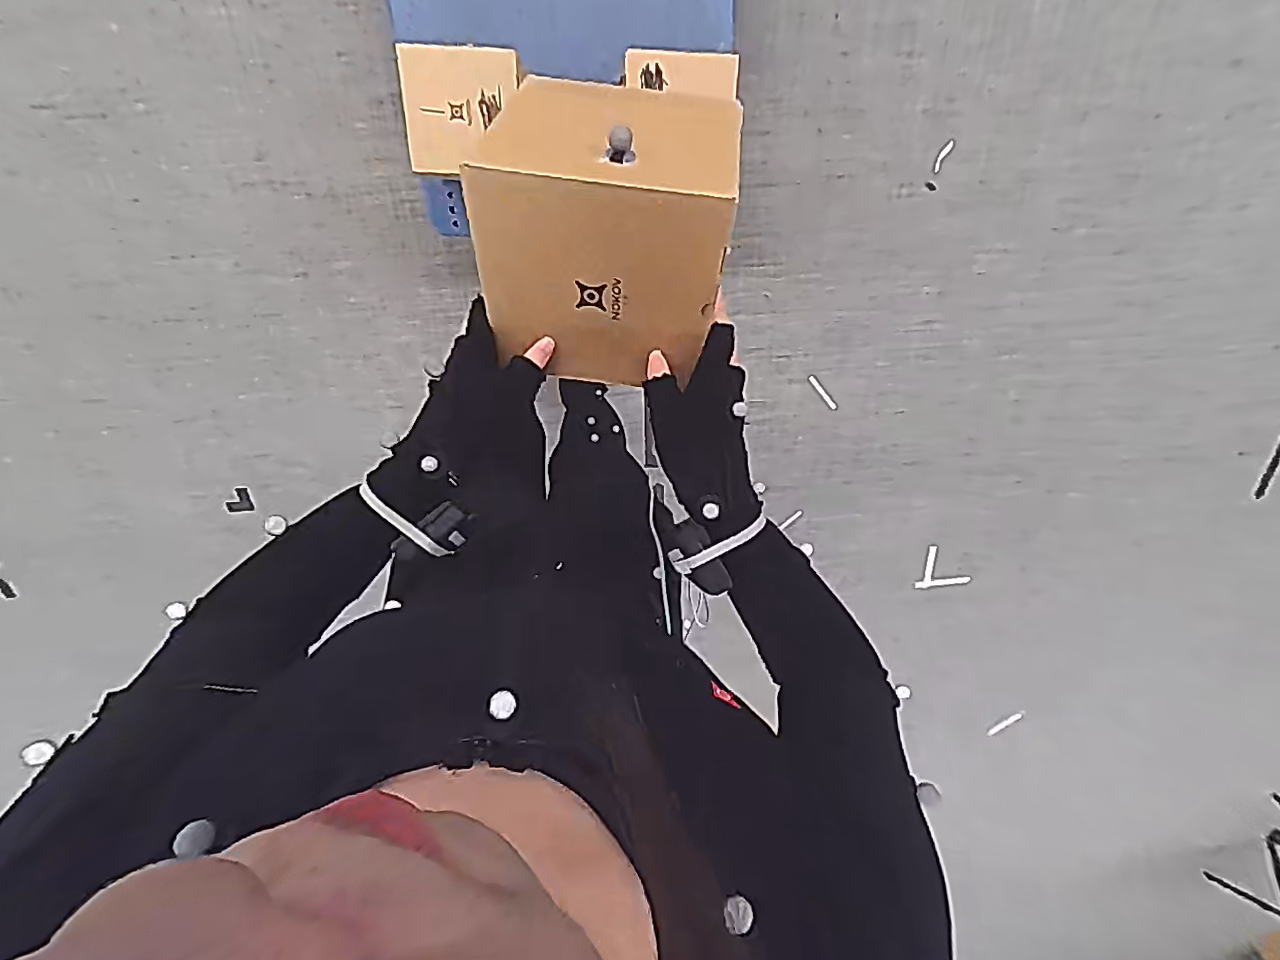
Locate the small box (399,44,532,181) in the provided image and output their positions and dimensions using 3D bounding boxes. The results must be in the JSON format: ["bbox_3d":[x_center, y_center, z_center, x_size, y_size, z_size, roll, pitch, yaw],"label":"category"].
[{"bbox_3d":[-0.272,-0.590,0.892,0.179,0.176,0.168,1,116,-3],"label":"small box"}]

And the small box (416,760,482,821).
[{"bbox_3d":[-0.678,1.139,1.942,0.168,0.176,0.179,-5,117,-1],"label":"small box"}]

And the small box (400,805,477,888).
[{"bbox_3d":[-0.663,1.214,1.796,0.179,0.176,0.168,-5,117,0],"label":"small box"}]

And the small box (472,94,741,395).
[{"bbox_3d":[-0.019,-0.197,0.452,0.179,0.176,0.168,7,142,1],"label":"small box"}]
